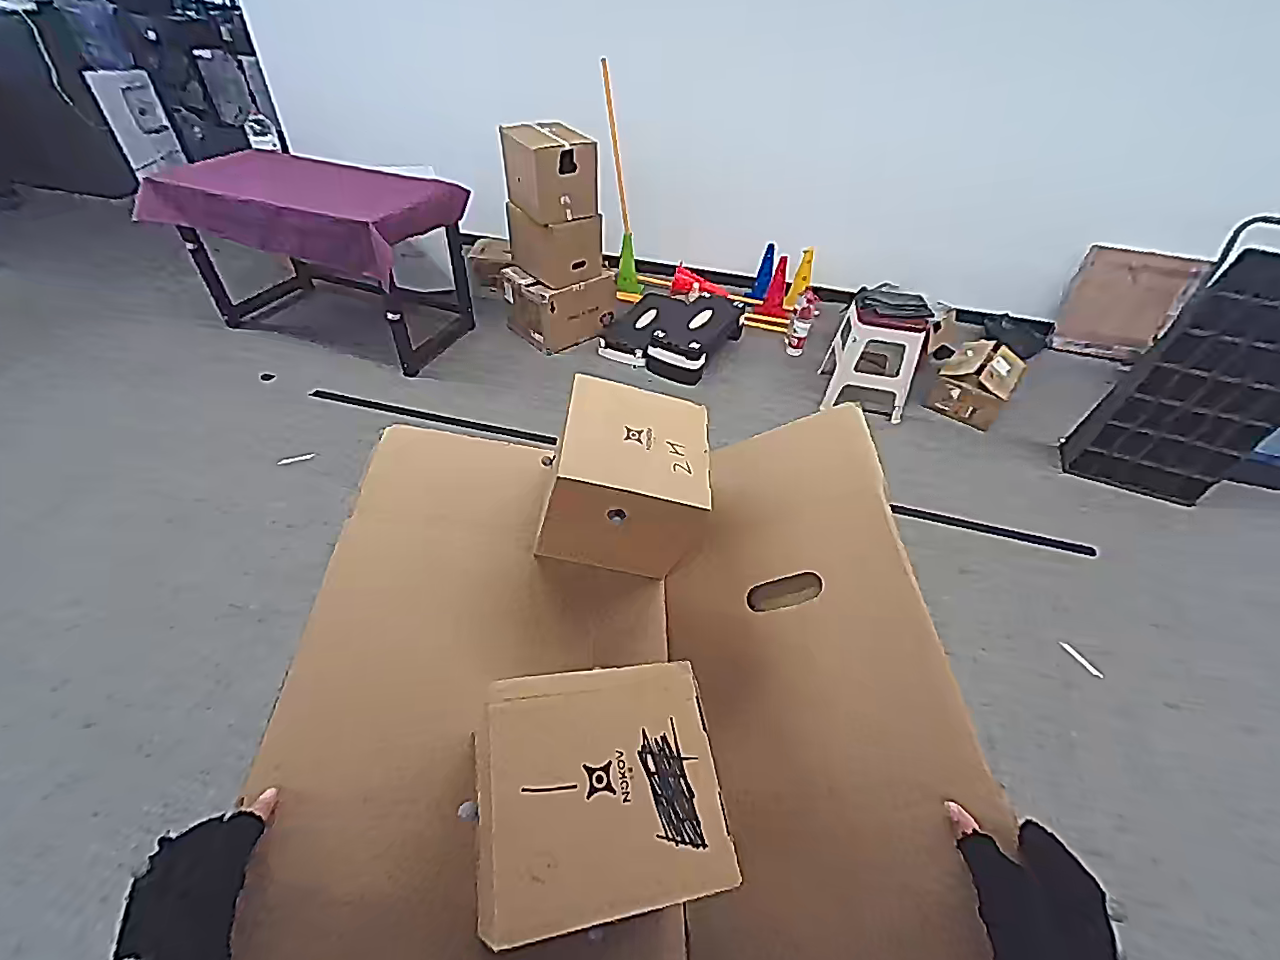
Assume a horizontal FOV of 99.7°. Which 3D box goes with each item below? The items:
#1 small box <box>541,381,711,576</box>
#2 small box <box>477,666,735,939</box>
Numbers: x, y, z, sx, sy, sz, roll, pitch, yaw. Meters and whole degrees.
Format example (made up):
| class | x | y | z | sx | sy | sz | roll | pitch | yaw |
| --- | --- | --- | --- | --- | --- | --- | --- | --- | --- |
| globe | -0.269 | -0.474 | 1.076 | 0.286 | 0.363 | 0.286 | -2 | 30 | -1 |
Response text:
| class | x | y | z | sx | sy | sz | roll | pitch | yaw |
| --- | --- | --- | --- | --- | --- | --- | --- | --- | --- |
| small box | -0.022 | 0.006 | 0.697 | 0.179 | 0.176 | 0.168 | 14 | 51 | -11 |
| small box | -0.046 | 0.276 | 0.477 | 0.179 | 0.176 | 0.168 | 2 | 53 | -19 |
